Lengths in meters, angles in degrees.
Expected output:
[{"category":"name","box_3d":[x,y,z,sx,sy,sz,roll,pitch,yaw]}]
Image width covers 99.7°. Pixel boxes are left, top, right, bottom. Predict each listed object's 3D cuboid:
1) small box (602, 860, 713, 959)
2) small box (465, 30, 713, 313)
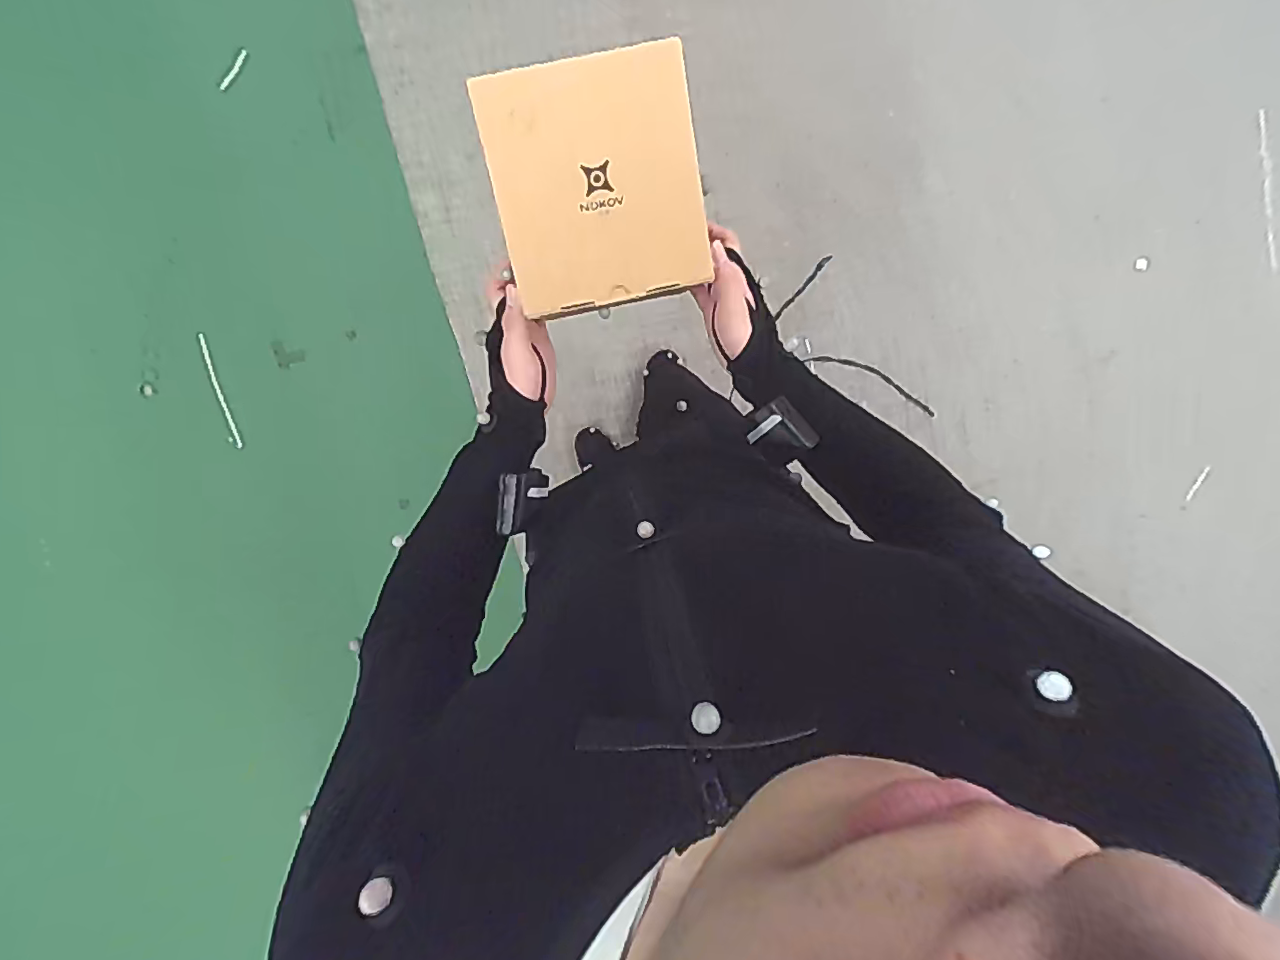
[{"category":"small box","box_3d":[0.035,0.786,0.894,0.168,0.176,0.179,-14,99,-4]},{"category":"small box","box_3d":[-0.042,-0.256,0.493,0.168,0.176,0.179,-12,108,-2]}]
